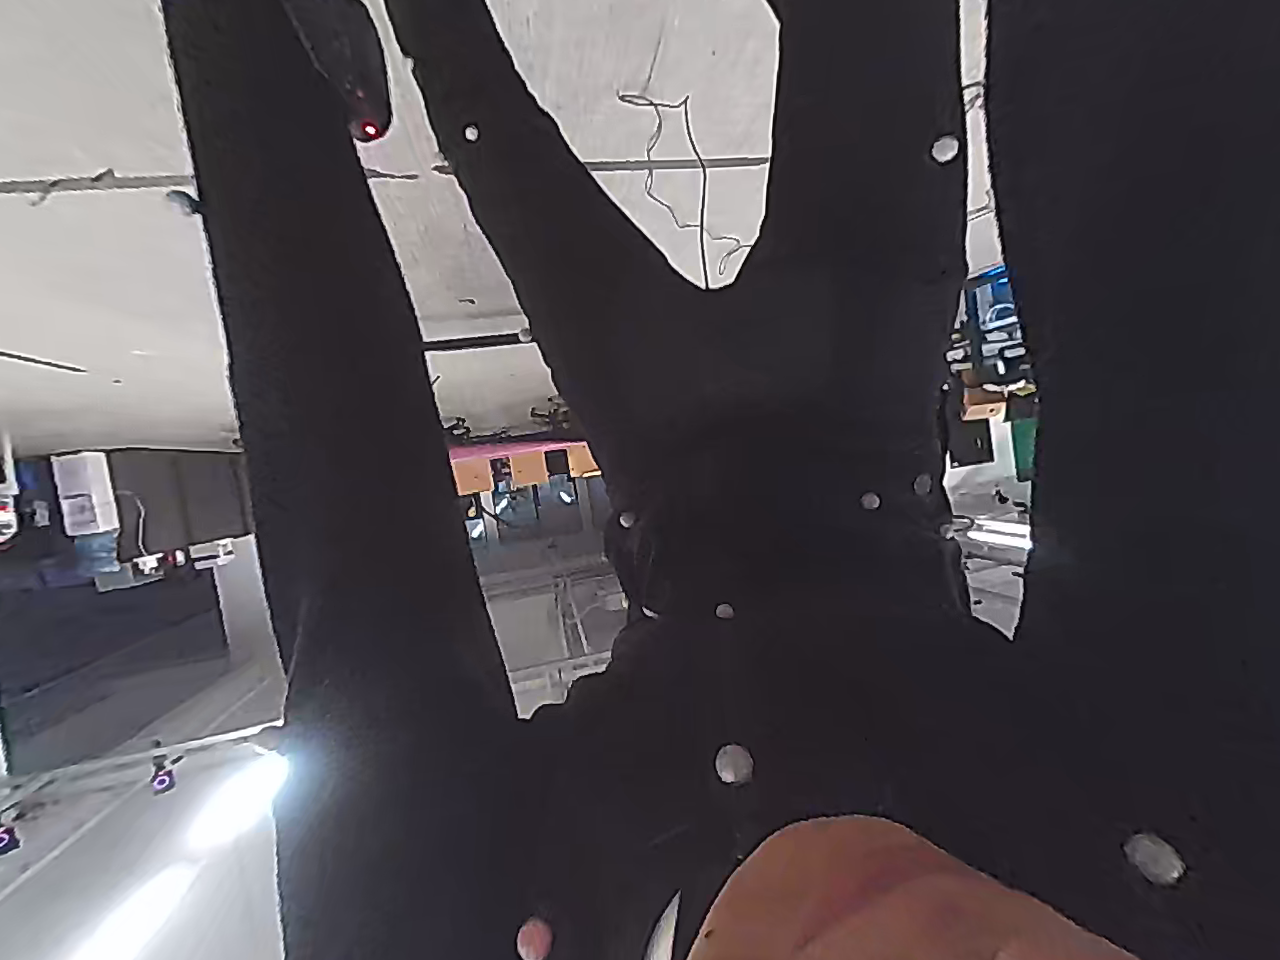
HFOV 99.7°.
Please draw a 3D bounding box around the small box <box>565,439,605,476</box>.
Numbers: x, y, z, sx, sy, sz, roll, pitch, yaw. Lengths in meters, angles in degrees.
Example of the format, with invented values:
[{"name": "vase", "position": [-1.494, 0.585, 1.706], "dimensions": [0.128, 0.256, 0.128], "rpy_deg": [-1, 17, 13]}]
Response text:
[{"name": "small box", "position": [-0.293, -0.119, 2.836], "dimensions": [0.168, 0.176, 0.179], "rpy_deg": [-9, -177, -18]}]
